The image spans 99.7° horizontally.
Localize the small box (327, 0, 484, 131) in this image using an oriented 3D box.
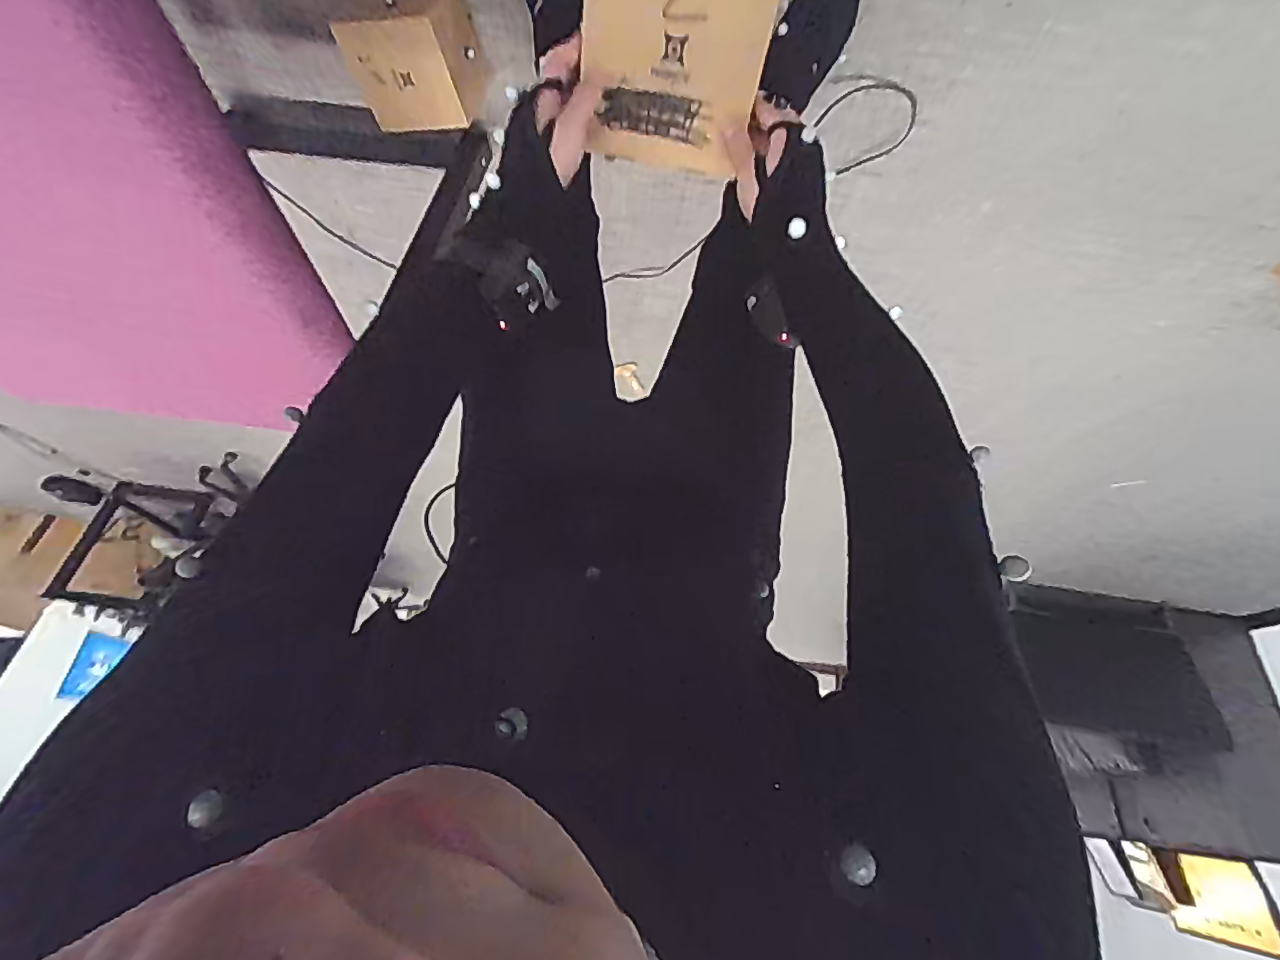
[{"bbox_3d":[-0.384,-0.734,0.929,0.179,0.176,0.168,4,152,9],"label":"small box"}]
